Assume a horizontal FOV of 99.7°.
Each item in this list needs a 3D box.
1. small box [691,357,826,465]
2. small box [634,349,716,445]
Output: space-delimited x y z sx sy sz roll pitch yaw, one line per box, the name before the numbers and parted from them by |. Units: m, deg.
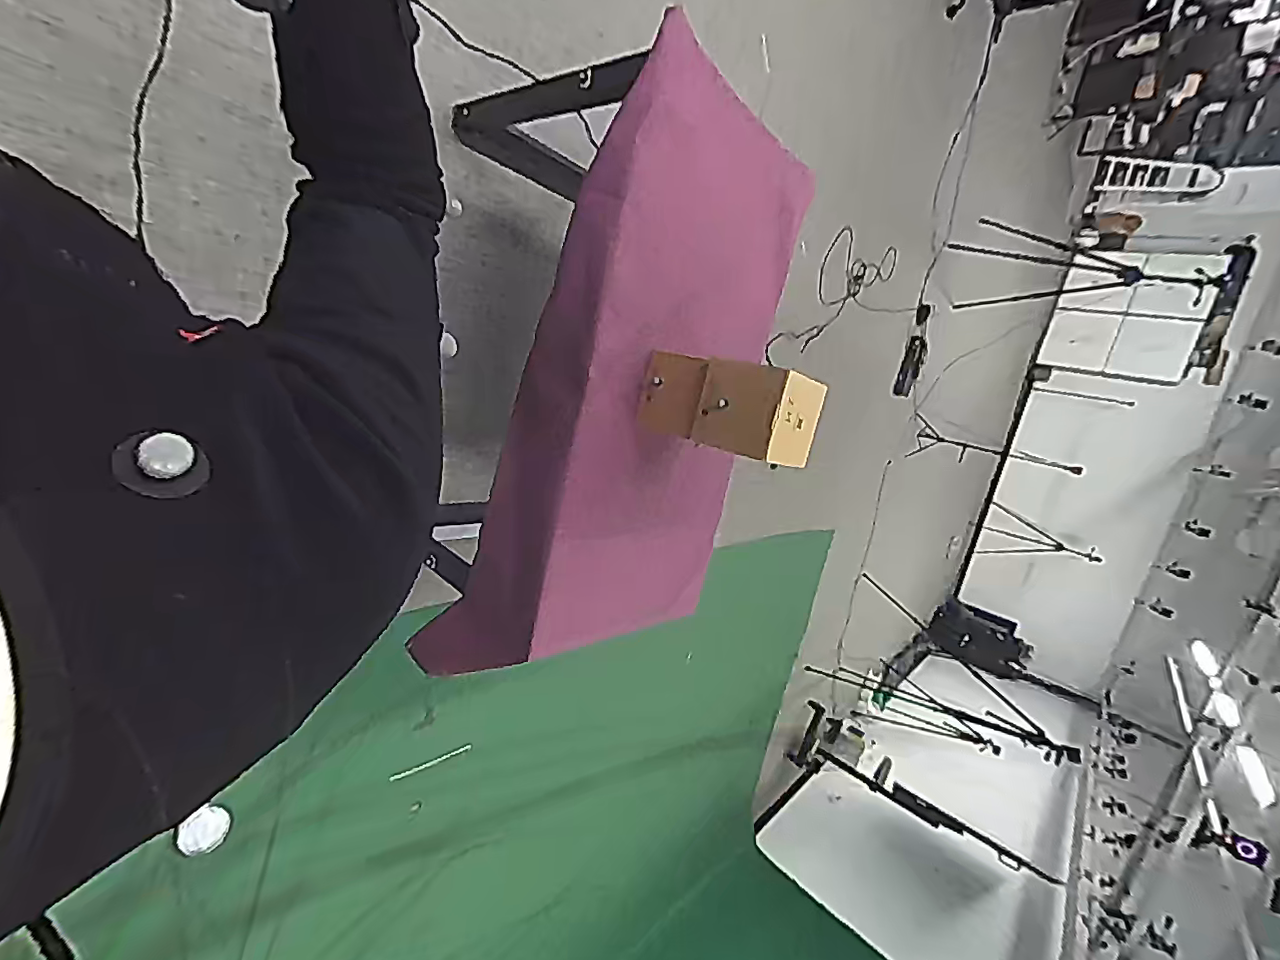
small box | 0.227 -0.133 1.043 0.179 0.176 0.168 4 102 -50
small box | 0.117 -0.174 1.159 0.179 0.176 0.168 7 101 -50
